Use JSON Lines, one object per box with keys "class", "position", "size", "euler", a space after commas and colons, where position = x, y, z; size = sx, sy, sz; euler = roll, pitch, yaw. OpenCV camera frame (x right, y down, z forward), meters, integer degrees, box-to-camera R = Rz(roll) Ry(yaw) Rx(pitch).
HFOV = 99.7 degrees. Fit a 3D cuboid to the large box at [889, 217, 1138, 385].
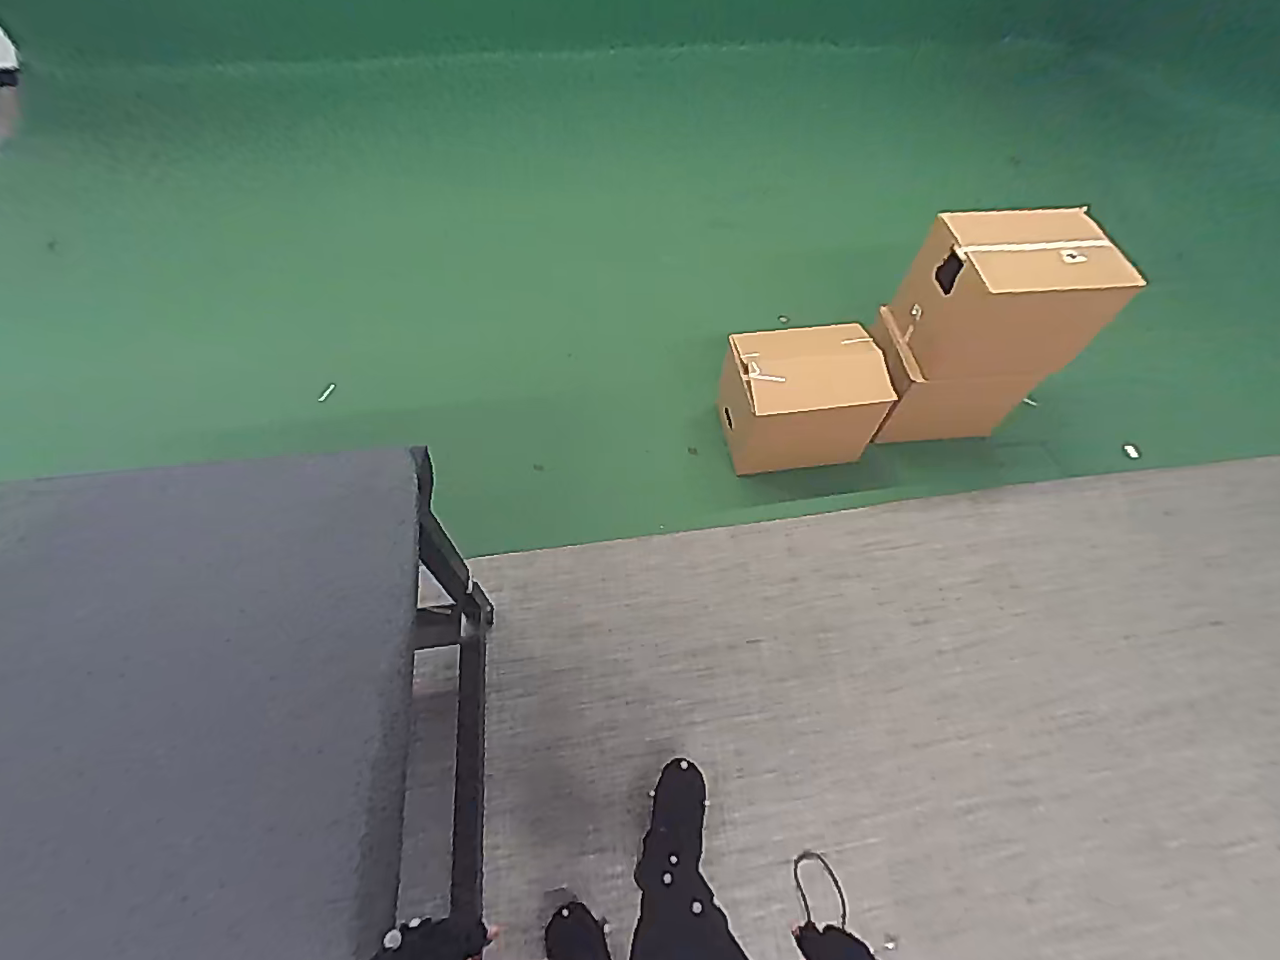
{"class": "large box", "position": [0.984, -0.487, 1.487], "size": [0.408, 0.320, 0.320], "euler": [-4, 59, -5]}
